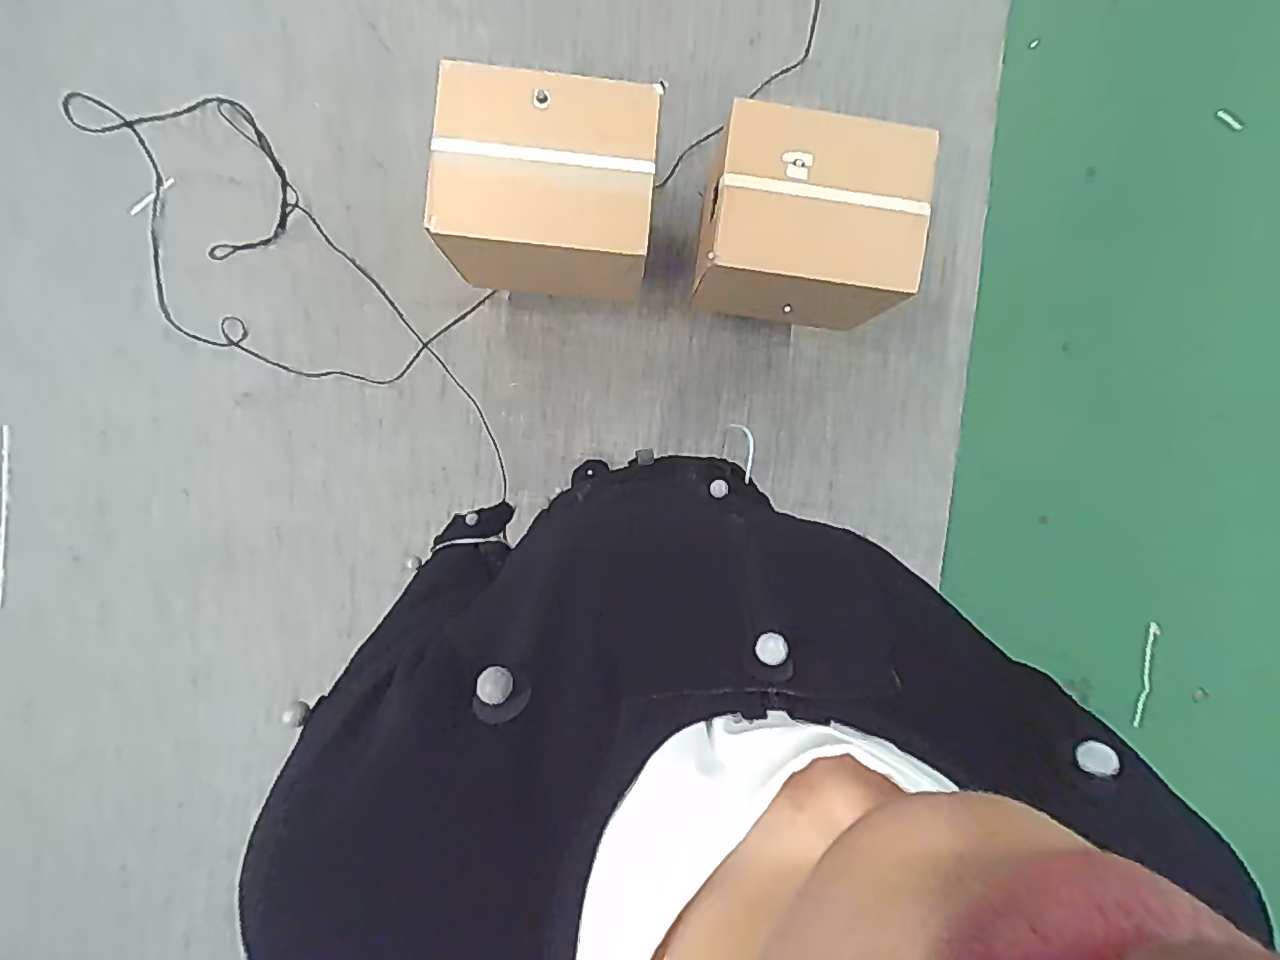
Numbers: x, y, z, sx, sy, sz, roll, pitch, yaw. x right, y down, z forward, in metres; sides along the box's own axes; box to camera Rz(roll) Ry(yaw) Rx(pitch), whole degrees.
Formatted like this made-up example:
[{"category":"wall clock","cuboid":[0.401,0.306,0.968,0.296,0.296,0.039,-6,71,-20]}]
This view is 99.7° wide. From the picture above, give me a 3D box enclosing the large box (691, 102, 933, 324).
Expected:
[{"category":"large box","cuboid":[0.346,-0.548,1.182,0.408,0.320,0.320,7,92,-3]}]
